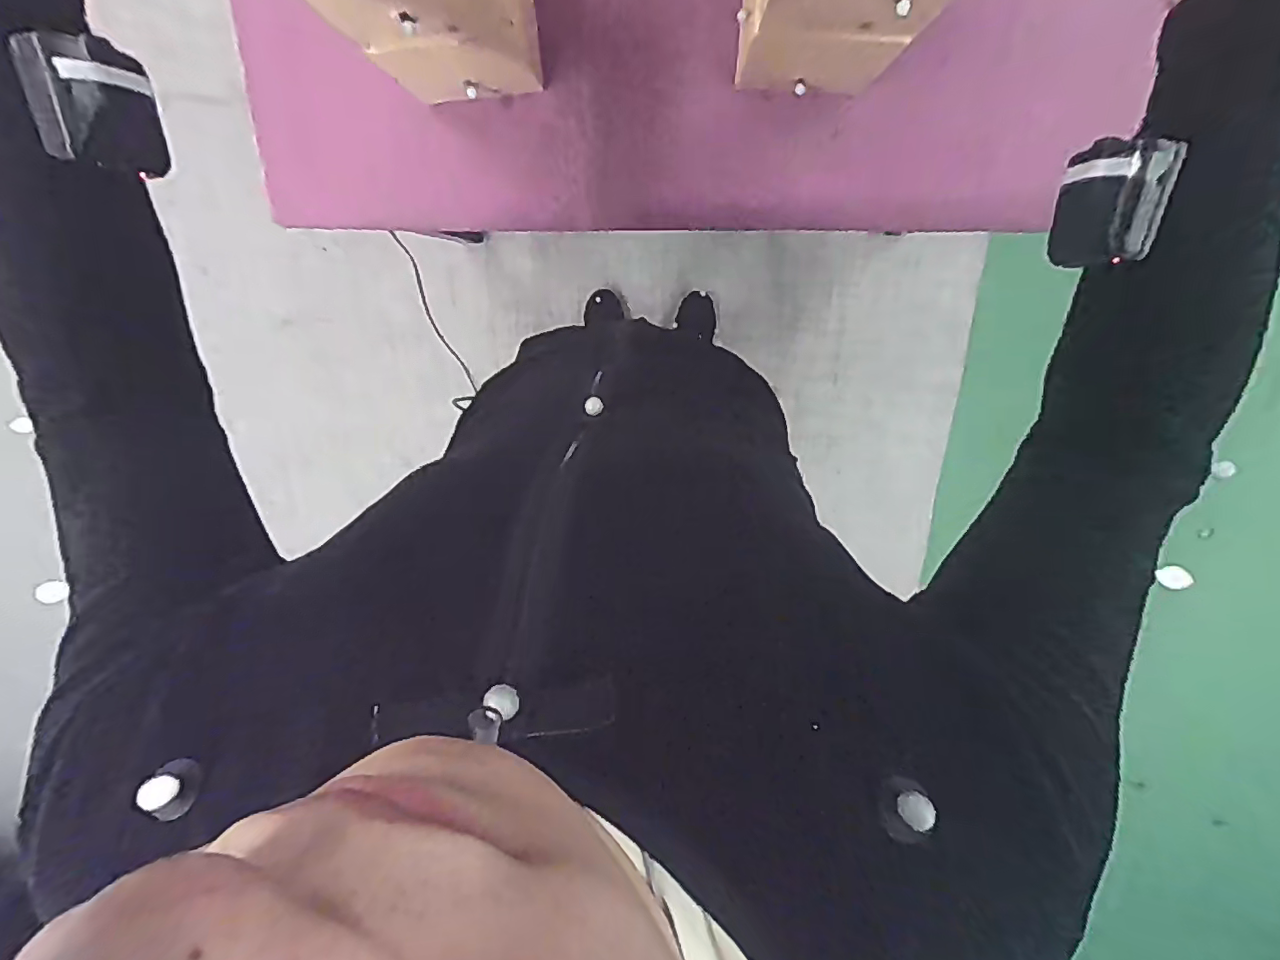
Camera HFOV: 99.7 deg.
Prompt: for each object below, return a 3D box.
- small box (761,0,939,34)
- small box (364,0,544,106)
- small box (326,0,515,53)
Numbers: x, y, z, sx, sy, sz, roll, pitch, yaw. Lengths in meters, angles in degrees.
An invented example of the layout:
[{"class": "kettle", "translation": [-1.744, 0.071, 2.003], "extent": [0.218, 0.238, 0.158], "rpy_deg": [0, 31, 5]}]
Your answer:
[{"class": "small box", "translation": [0.202, -0.515, 0.457], "extent": [0.168, 0.176, 0.179], "rpy_deg": [3, 109, 2]}, {"class": "small box", "translation": [-0.218, -0.575, 0.635], "extent": [0.168, 0.176, 0.179], "rpy_deg": [-3, 109, 5]}, {"class": "small box", "translation": [-0.224, -0.526, 0.480], "extent": [0.168, 0.176, 0.179], "rpy_deg": [-6, 109, 5]}]
